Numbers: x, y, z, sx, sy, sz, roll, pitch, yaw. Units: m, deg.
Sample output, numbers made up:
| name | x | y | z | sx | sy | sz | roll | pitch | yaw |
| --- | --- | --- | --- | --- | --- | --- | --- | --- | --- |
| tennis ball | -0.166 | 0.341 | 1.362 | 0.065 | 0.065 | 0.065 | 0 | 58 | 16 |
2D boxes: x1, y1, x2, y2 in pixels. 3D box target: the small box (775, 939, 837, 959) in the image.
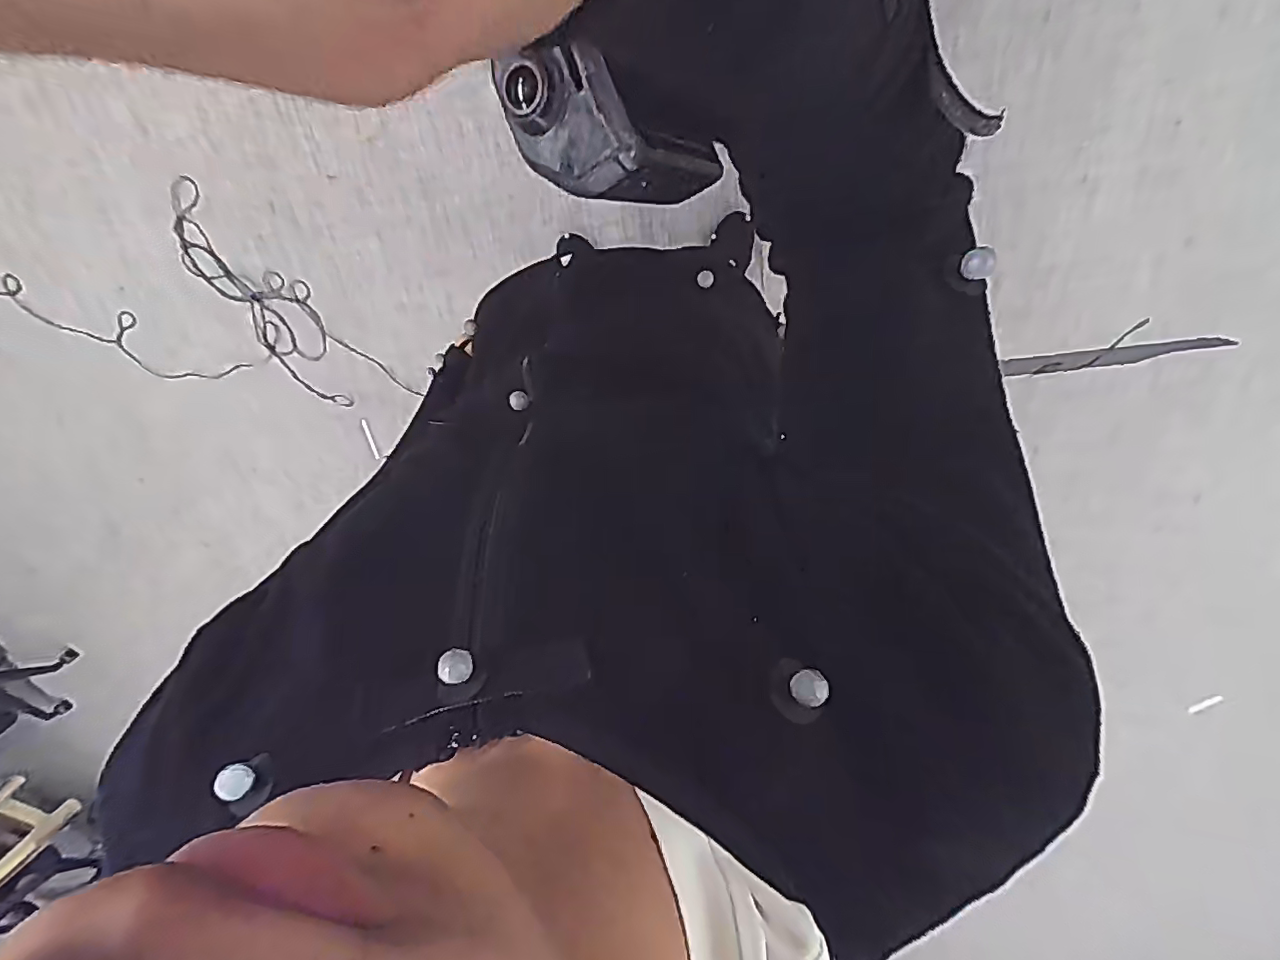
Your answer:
| name | x | y | z | sx | sy | sz | roll | pitch | yaw |
| --- | --- | --- | --- | --- | --- | --- | --- | --- | --- |
| small box | 0.483 | 1.421 | 1.514 | 0.168 | 0.176 | 0.179 | -12 | 116 | 10 |

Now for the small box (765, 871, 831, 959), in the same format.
| name | x | y | z | sx | sy | sz | roll | pitch | yaw |
| --- | --- | --- | --- | --- | --- | --- | --- | --- | --- |
| small box | 0.483 | 1.336 | 1.656 | 0.168 | 0.176 | 0.179 | -9 | 116 | 8 |
